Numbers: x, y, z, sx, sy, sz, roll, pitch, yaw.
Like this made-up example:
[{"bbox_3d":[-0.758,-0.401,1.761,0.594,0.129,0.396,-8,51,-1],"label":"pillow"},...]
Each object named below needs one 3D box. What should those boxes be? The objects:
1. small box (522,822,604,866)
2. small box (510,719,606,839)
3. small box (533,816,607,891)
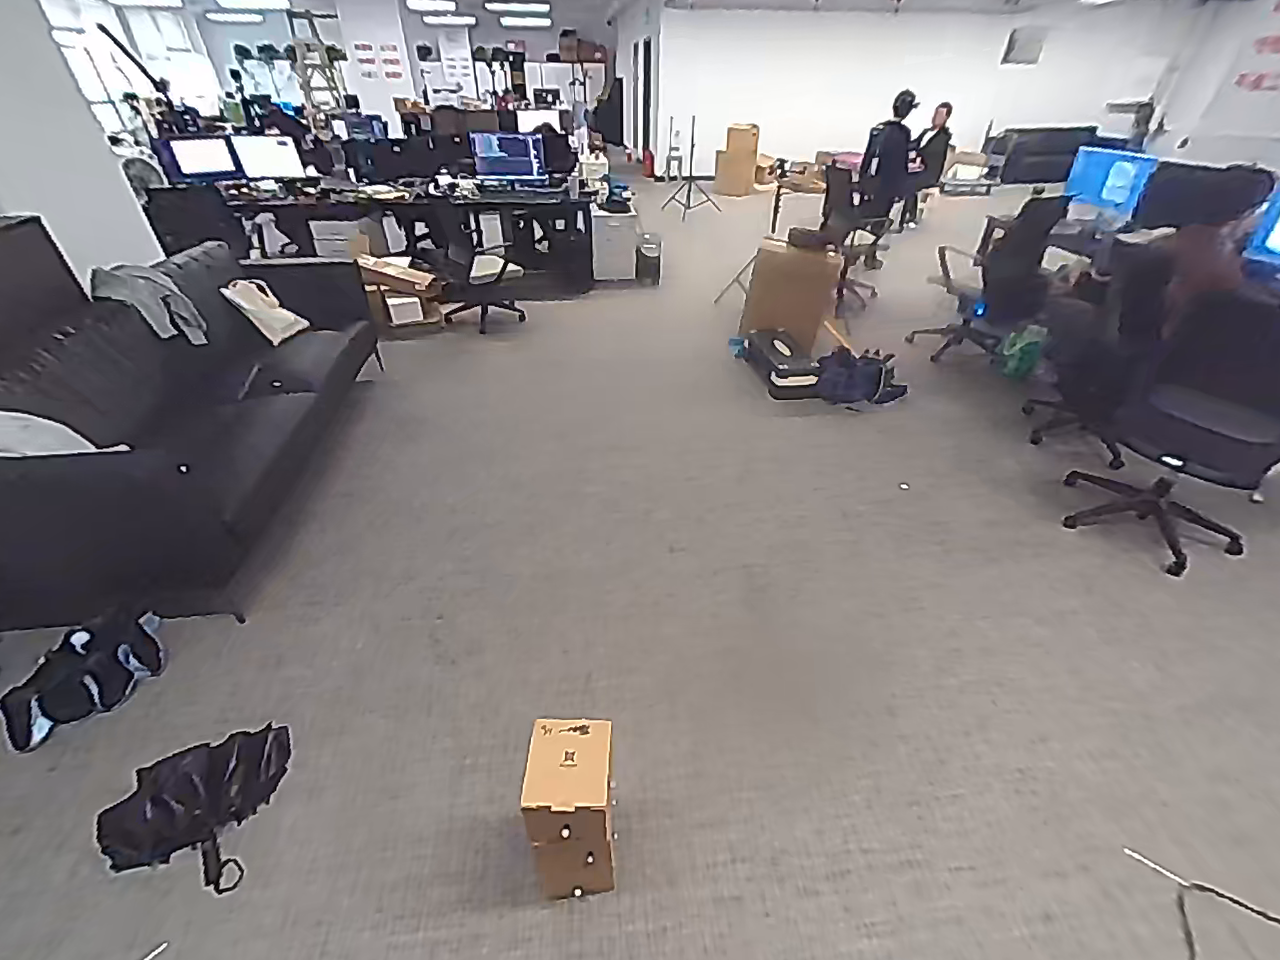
[{"bbox_3d":[-0.169,0.745,1.221,0.168,0.176,0.179,-3,37,-6],"label":"small box"},{"bbox_3d":[-0.159,0.619,1.118,0.168,0.176,0.179,1,39,0],"label":"small box"},{"bbox_3d":[-0.170,0.870,1.325,0.168,0.176,0.179,-4,39,-6],"label":"small box"}]
